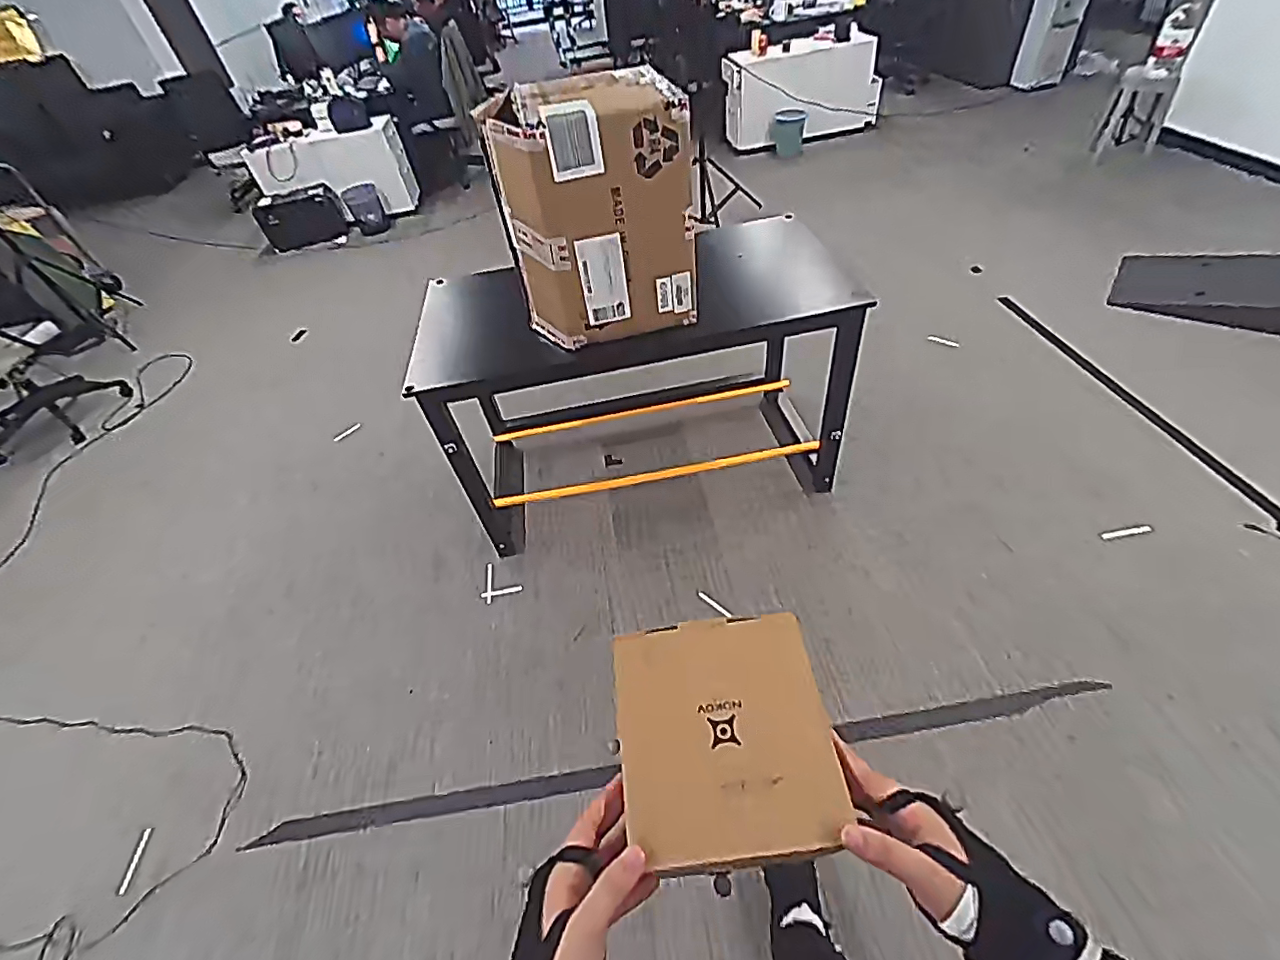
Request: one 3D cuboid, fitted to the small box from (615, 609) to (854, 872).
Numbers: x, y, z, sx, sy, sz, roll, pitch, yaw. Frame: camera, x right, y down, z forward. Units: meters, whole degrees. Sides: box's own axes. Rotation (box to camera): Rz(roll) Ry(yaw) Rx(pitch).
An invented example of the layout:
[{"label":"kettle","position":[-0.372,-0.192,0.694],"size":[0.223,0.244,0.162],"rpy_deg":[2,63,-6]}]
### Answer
[{"label":"small box","position":[0.068,0.241,0.496],"size":[0.168,0.176,0.179],"rpy_deg":[-7,52,0]}]
